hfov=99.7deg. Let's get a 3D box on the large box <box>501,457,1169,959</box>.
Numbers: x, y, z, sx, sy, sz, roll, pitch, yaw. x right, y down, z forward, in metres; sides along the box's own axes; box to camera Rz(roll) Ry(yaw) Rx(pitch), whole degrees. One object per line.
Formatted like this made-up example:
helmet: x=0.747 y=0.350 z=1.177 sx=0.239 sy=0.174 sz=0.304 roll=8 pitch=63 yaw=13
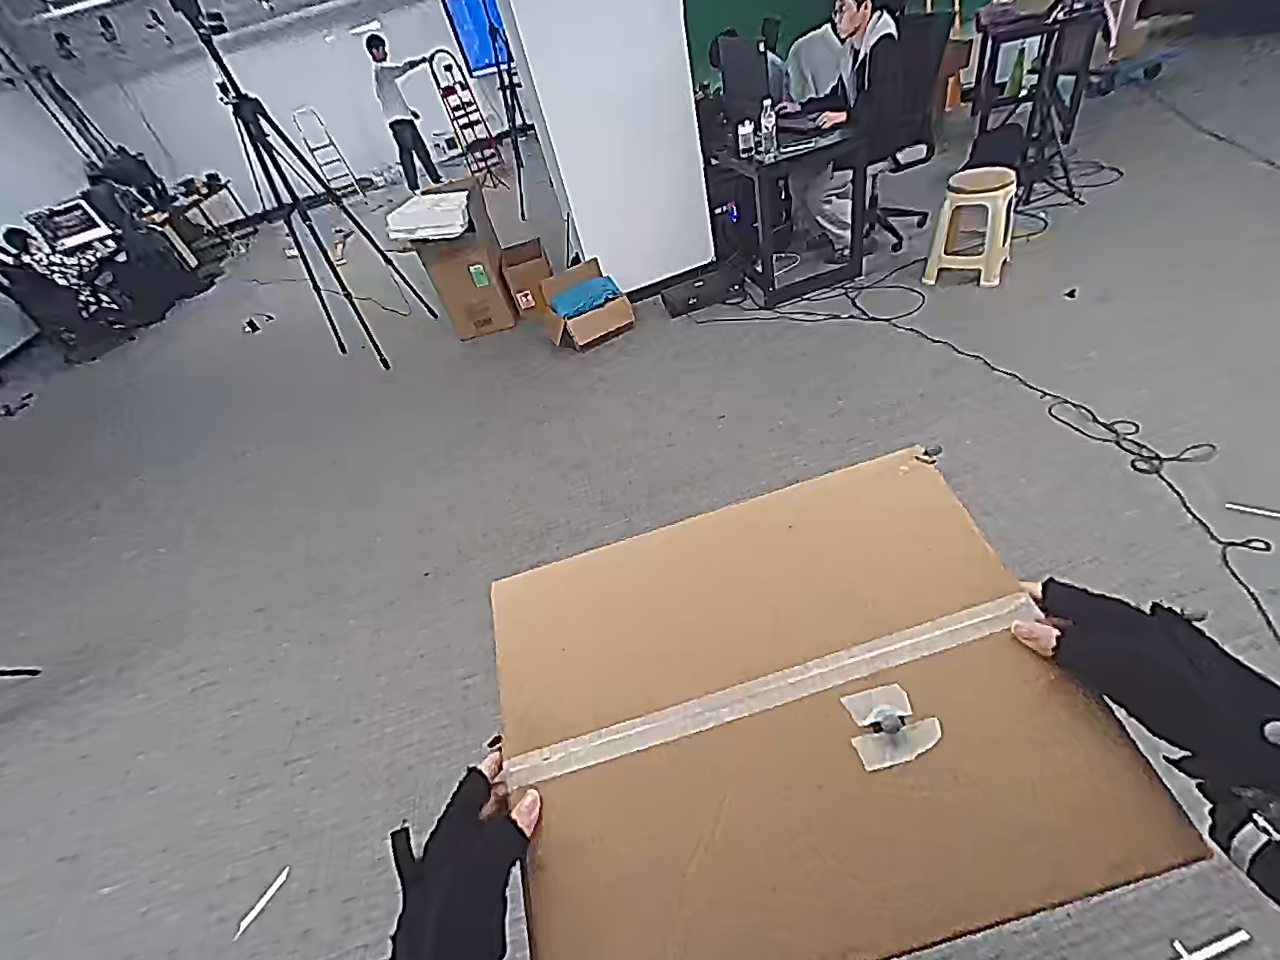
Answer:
large box: x=0.124 y=0.240 z=0.534 sx=0.408 sy=0.320 sz=0.320 roll=-18 pitch=57 yaw=0
